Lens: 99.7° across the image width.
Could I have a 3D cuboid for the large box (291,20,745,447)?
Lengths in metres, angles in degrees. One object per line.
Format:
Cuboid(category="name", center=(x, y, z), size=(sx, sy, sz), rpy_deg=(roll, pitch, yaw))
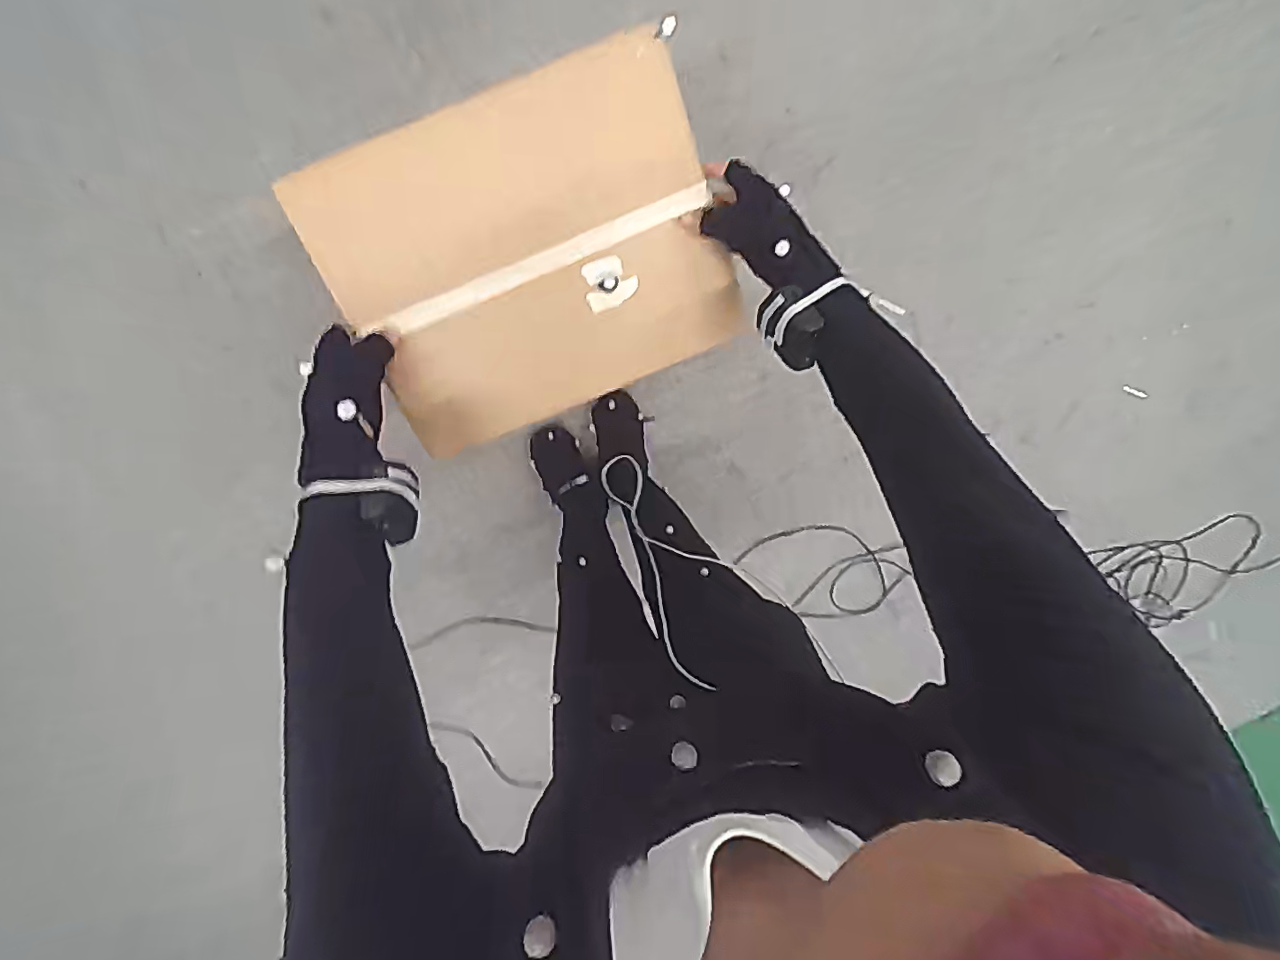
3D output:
Cuboid(category="large box", center=(-0.133, -0.292, 0.722), size=(0.408, 0.320, 0.320), rpy_deg=(-23, 112, 0))
